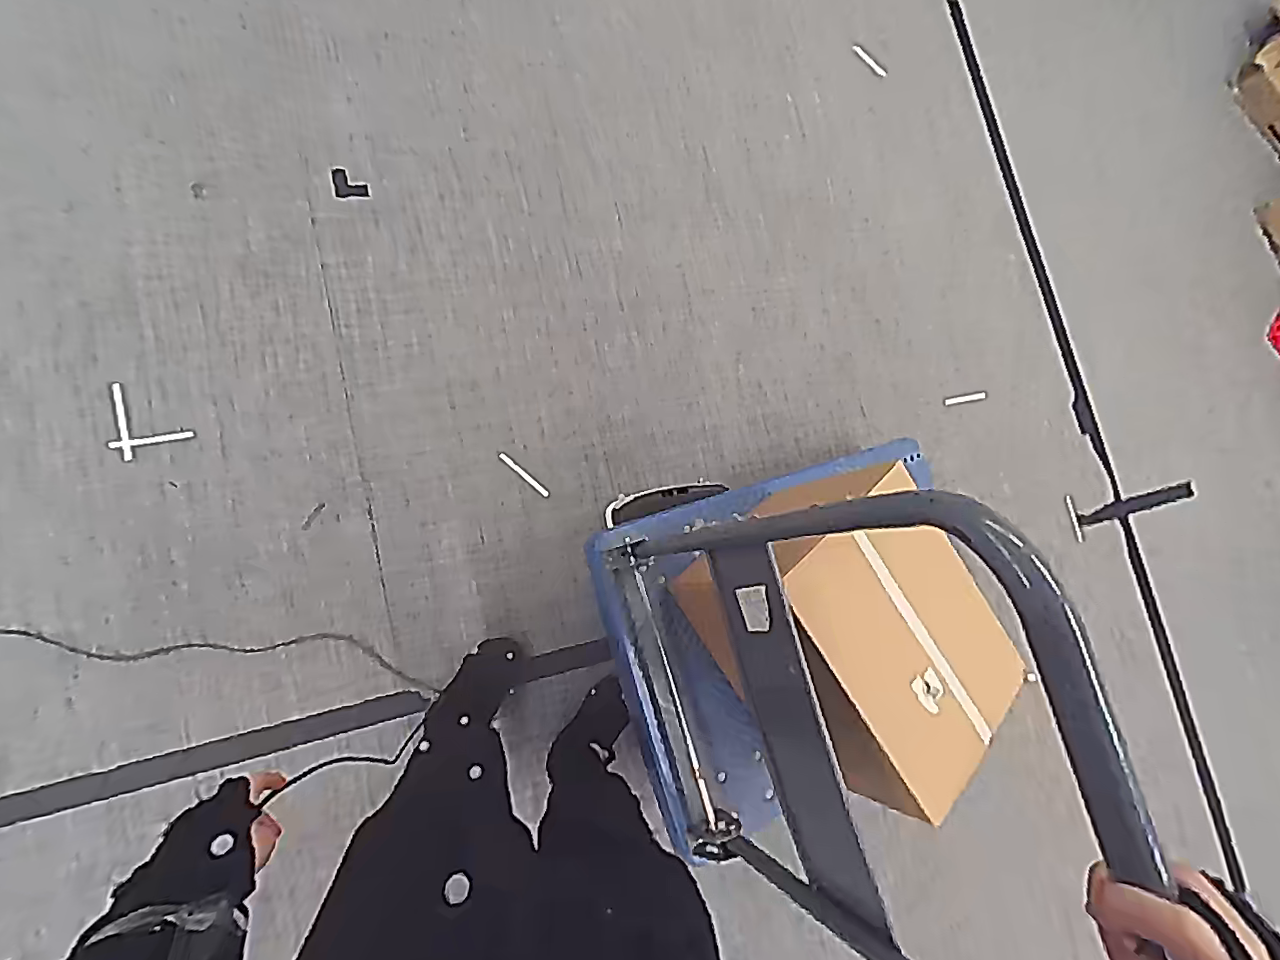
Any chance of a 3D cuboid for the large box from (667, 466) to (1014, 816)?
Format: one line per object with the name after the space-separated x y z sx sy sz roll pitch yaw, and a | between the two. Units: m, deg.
0.321 0.244 0.912 0.320 0.320 0.408 -36 96 -27 | large box
